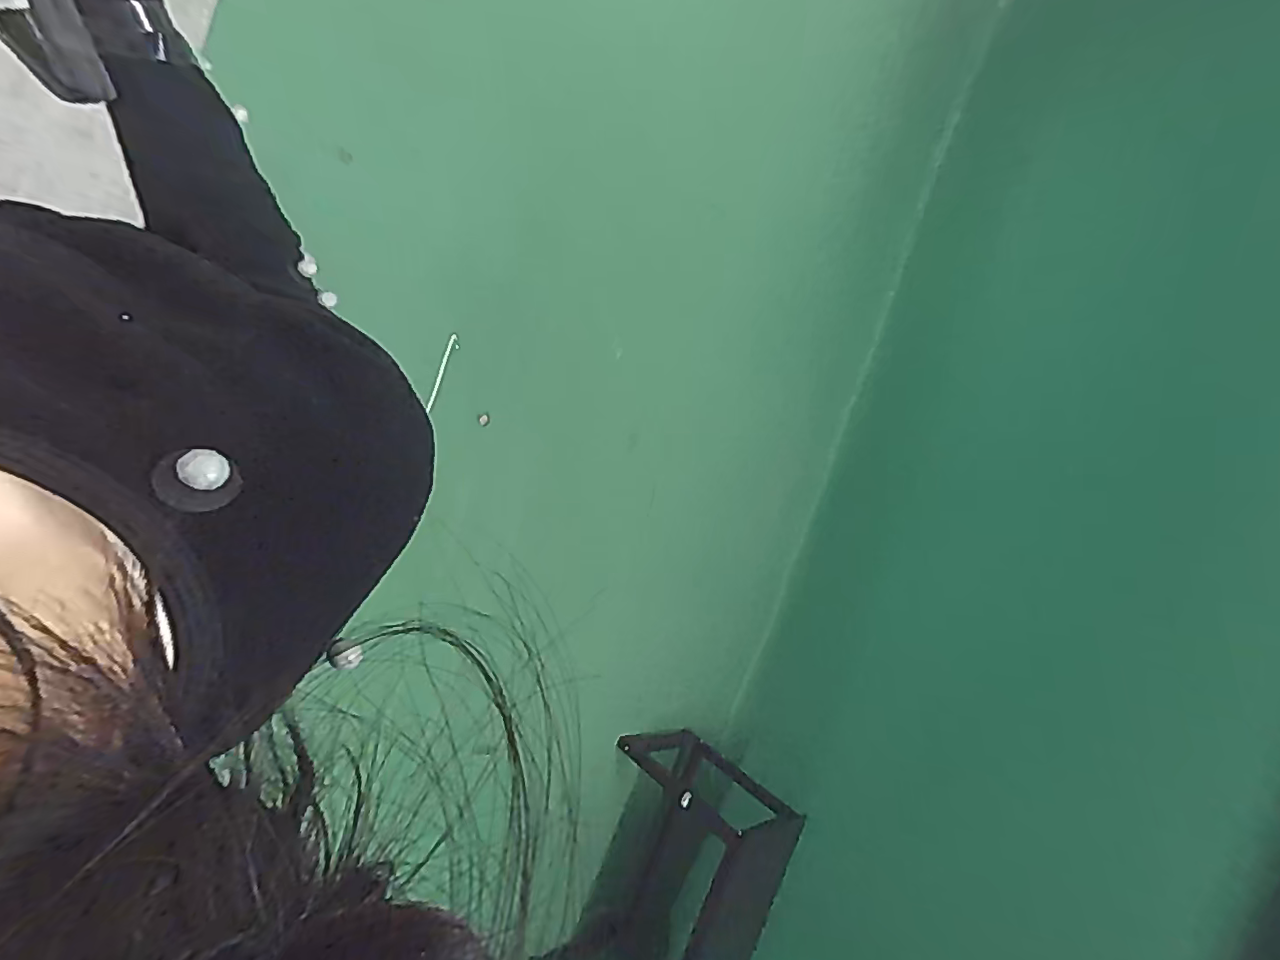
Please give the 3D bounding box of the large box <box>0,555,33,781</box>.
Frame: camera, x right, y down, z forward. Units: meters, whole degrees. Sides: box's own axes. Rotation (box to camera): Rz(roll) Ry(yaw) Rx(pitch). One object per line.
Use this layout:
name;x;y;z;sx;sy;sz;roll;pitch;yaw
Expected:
large box;-1.287;0.334;0.865;0.408;0.320;0.320;-2;107;-46
